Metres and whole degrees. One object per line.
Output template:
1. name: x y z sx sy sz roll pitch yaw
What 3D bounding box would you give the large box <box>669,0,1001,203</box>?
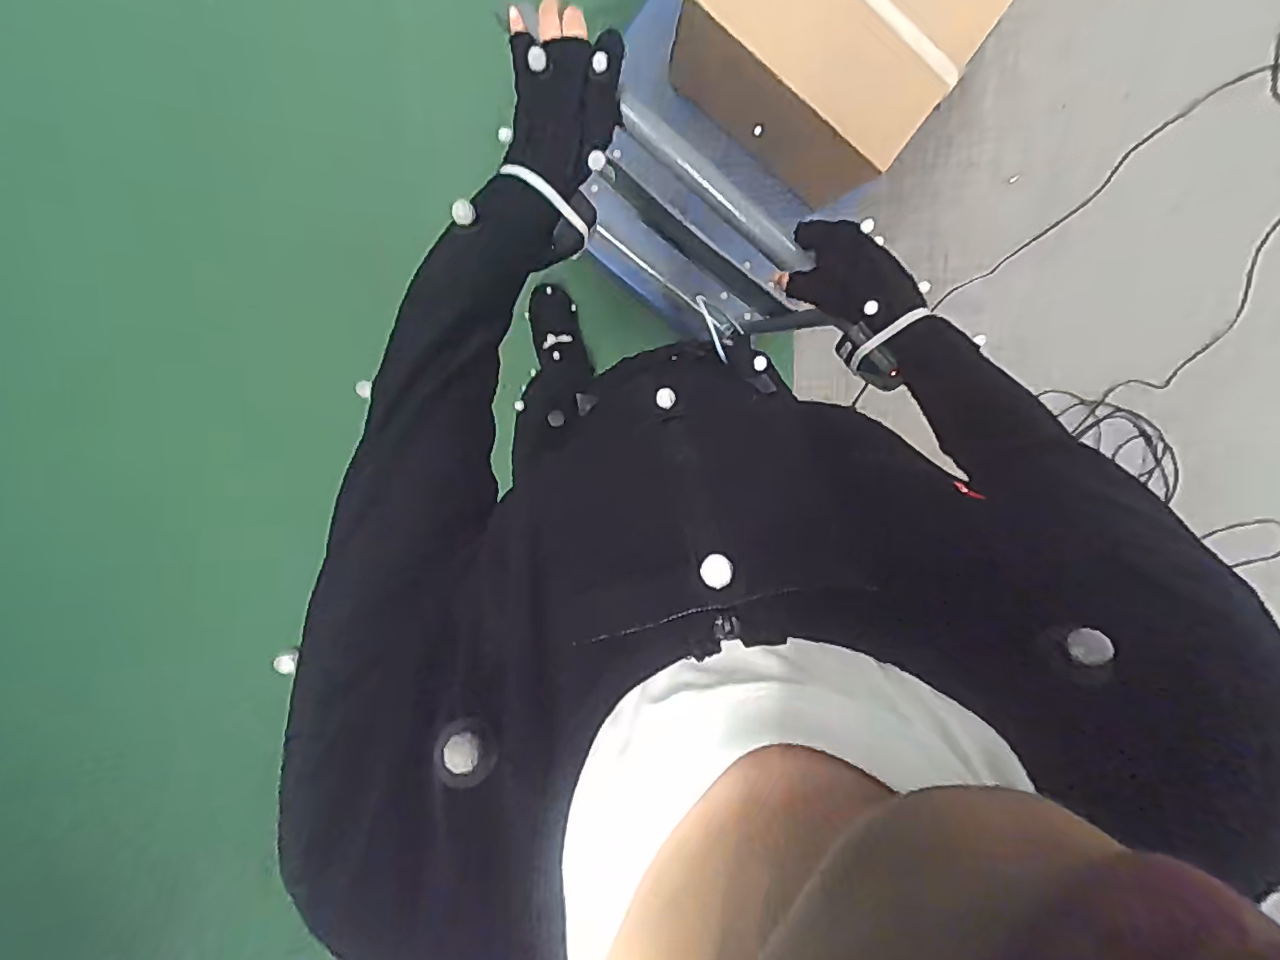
1. large box: 0.308 -0.770 0.949 0.408 0.320 0.320 34 101 -11
